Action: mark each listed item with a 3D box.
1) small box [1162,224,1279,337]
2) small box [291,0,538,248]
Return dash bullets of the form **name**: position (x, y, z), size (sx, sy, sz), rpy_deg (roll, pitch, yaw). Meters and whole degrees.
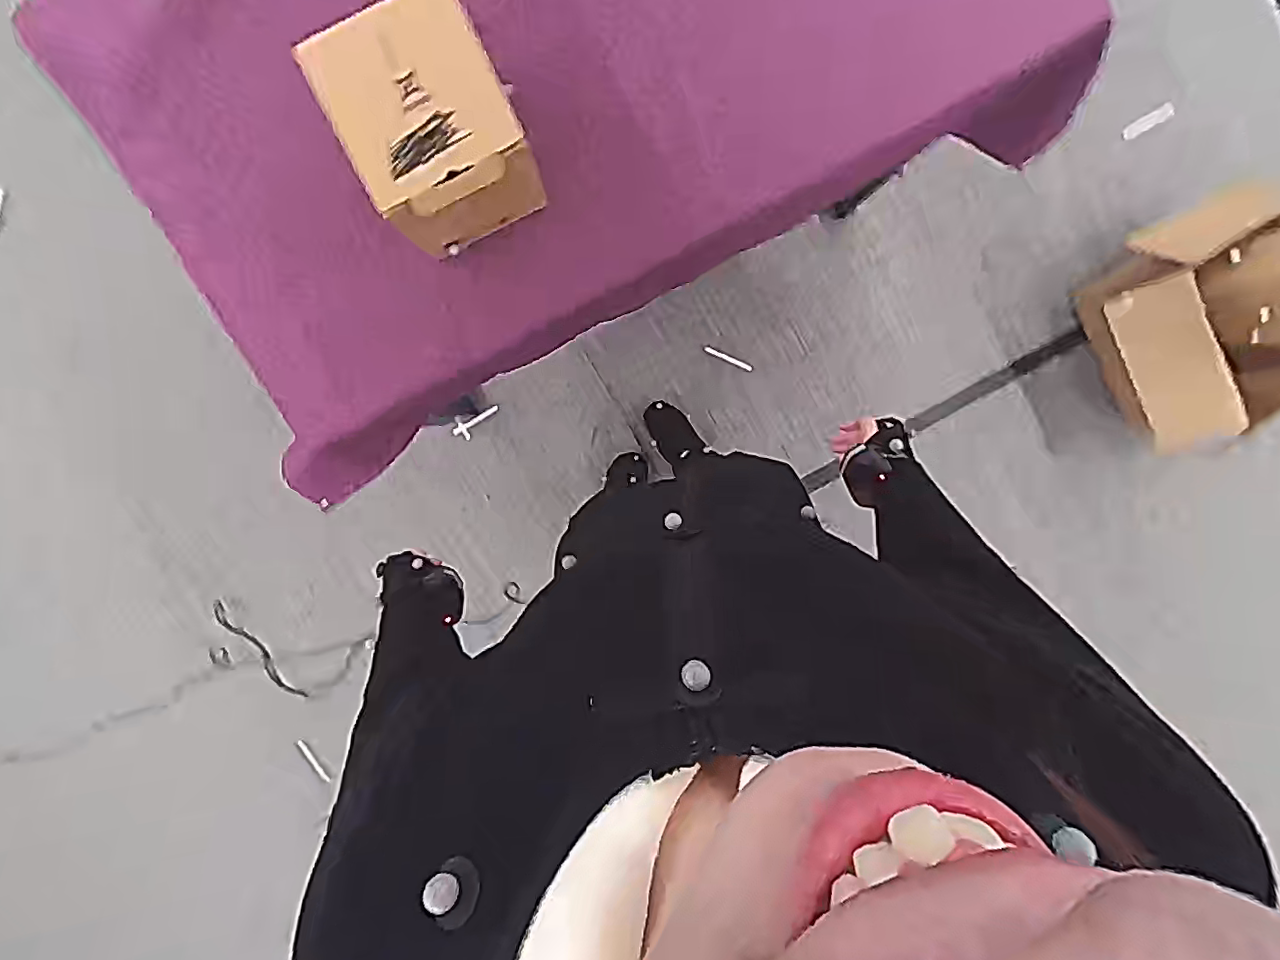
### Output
- **small box**: position (1.374, -0.442, 1.235), size (0.179, 0.176, 0.168), rpy_deg (38, 97, -9)
- **small box**: position (-0.232, -0.387, 0.612), size (0.168, 0.176, 0.179), rpy_deg (-27, 97, 0)
